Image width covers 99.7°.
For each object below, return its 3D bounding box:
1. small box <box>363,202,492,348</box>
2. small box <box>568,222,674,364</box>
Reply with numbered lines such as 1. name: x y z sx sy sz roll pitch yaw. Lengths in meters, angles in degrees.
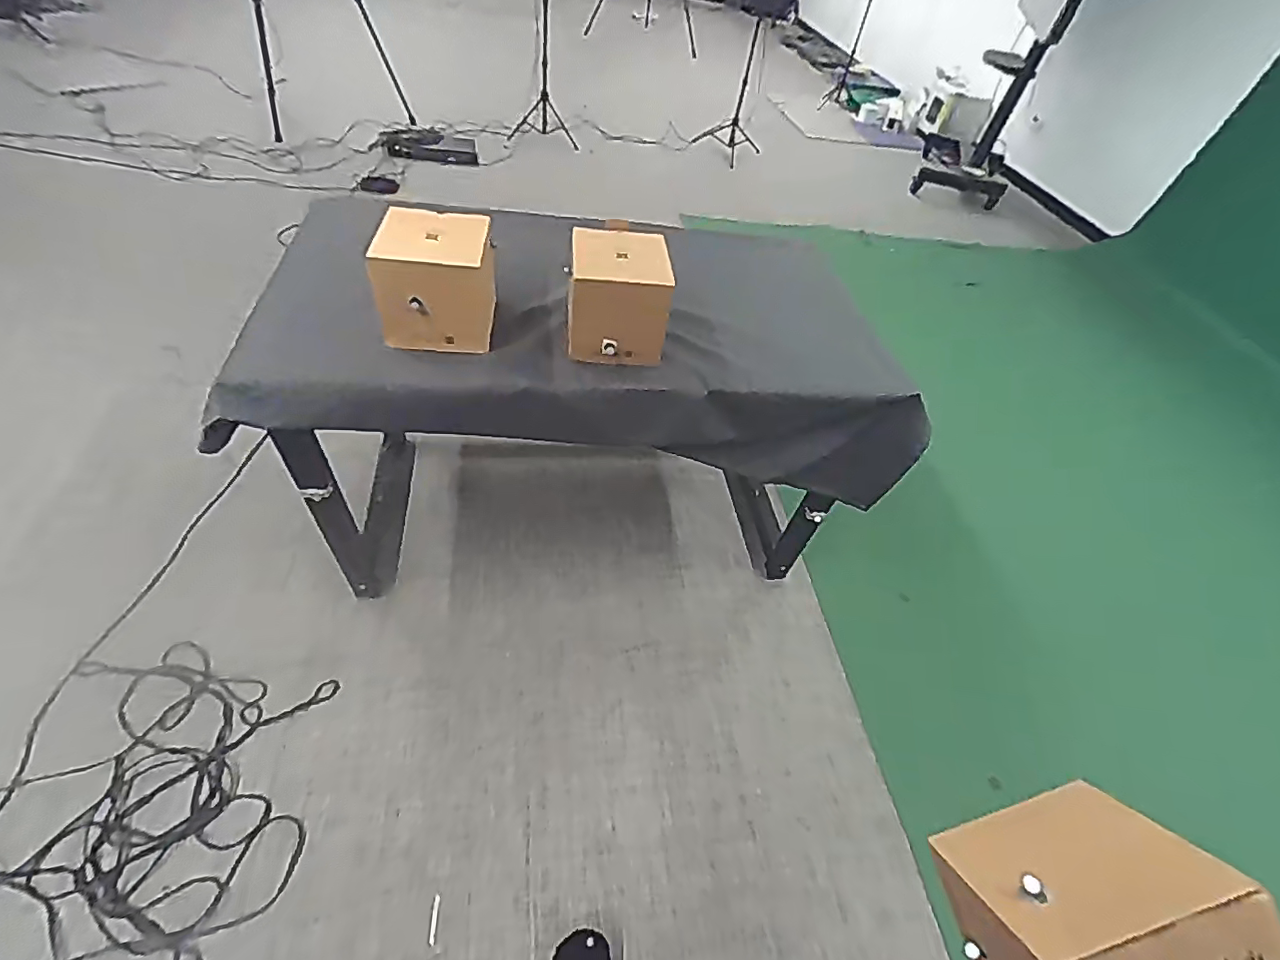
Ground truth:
1. small box: -0.345 -0.343 0.918 0.168 0.176 0.179 1 49 -10
2. small box: -0.044 -0.332 0.967 0.168 0.176 0.179 0 50 -9
